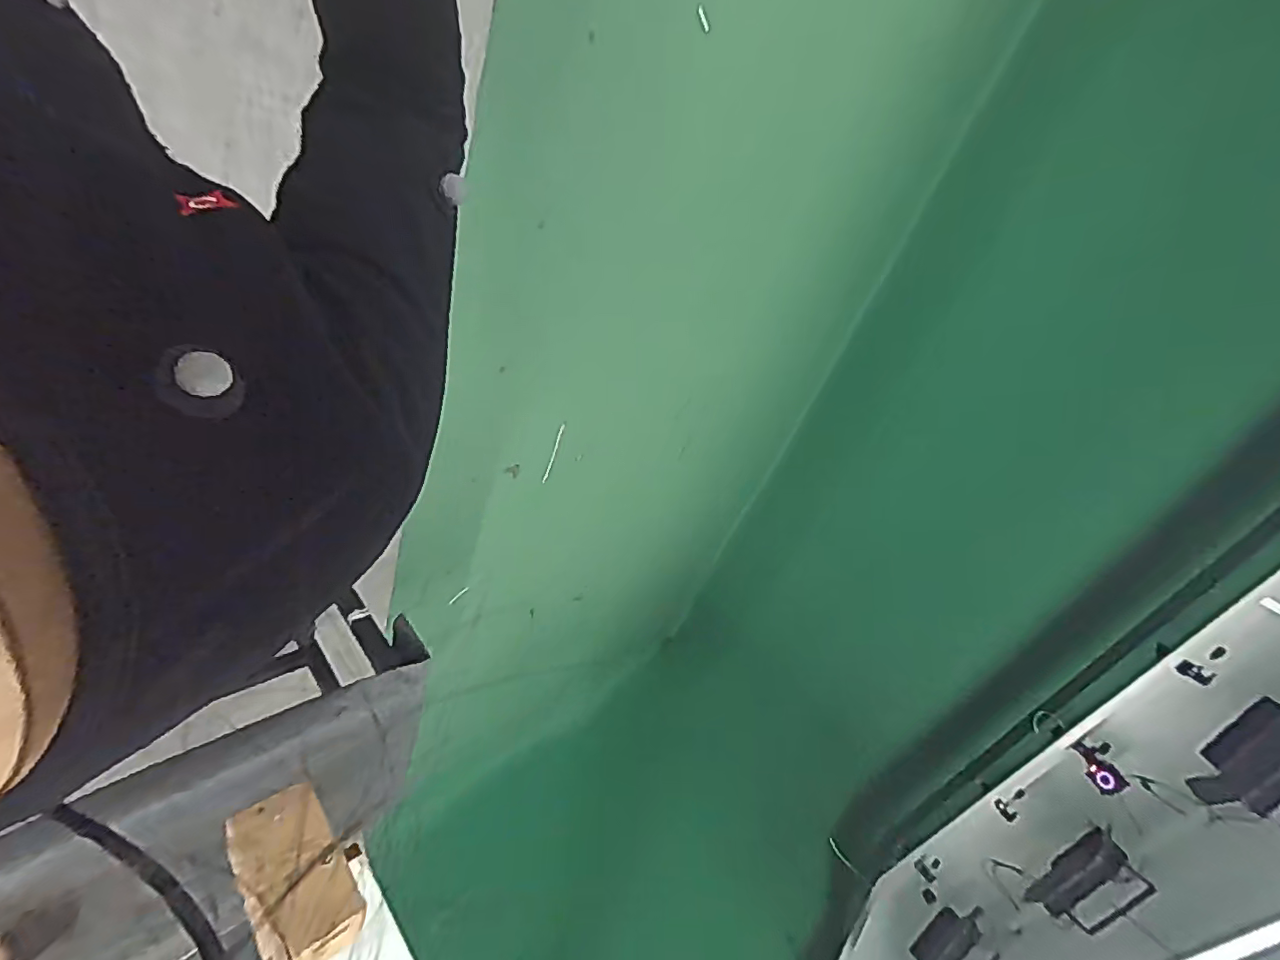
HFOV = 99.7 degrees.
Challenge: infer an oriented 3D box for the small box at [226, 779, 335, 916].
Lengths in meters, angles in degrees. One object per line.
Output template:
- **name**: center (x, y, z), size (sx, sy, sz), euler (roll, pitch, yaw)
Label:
- **small box**: center (-0.835, 0.841, 1.254), size (0.168, 0.176, 0.179), euler (-14, 137, -48)

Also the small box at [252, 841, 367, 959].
- **small box**: center (-0.725, 0.939, 1.181), size (0.168, 0.176, 0.179), euler (-12, 136, -49)
